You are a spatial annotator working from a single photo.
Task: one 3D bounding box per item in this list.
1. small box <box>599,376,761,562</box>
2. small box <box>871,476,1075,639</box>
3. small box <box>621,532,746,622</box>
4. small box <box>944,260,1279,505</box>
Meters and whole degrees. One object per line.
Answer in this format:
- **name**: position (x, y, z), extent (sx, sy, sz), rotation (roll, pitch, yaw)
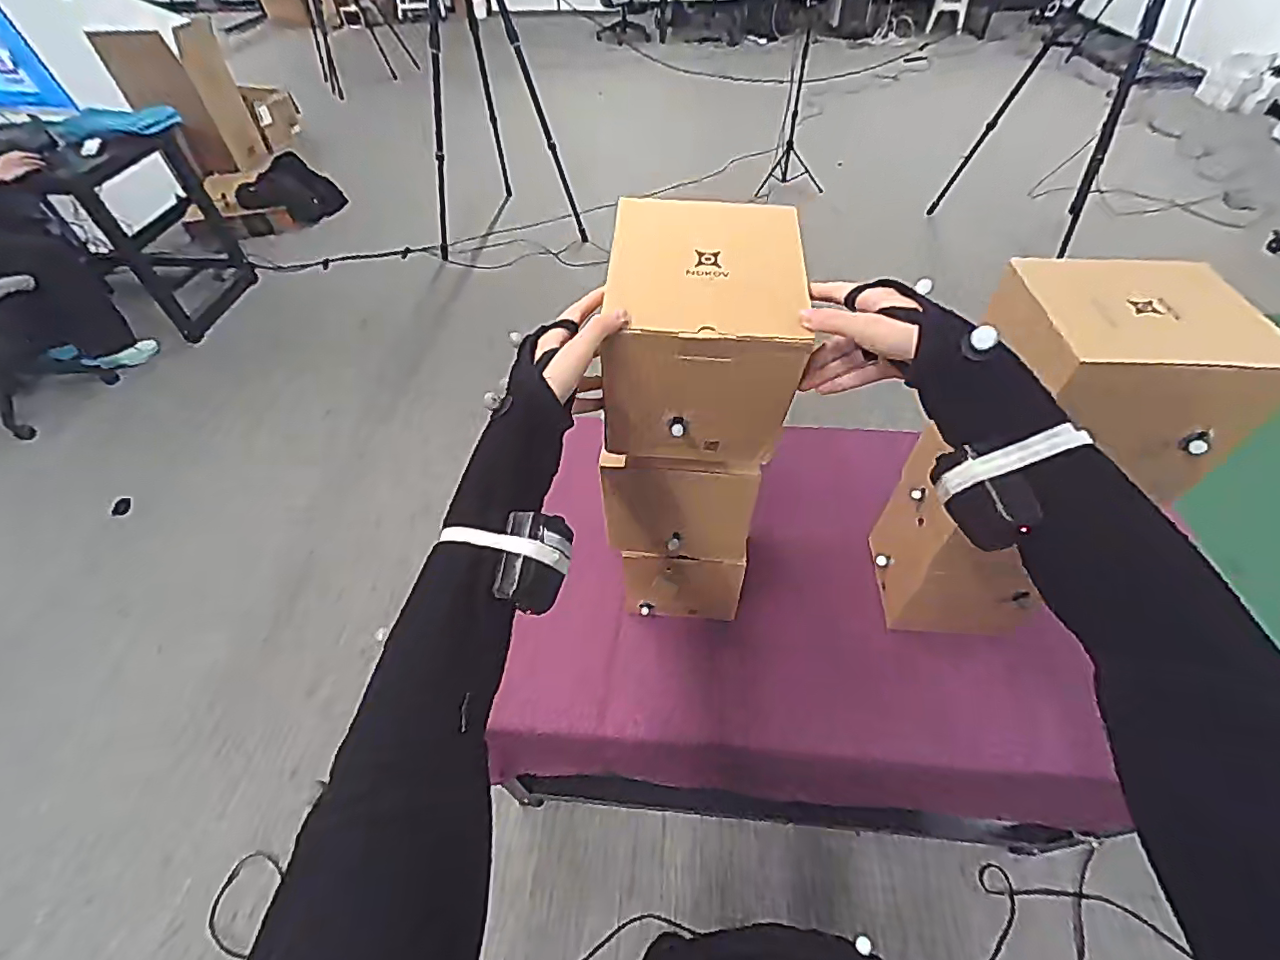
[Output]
- **small box**: position (0.051, -0.010, 0.687), extent (0.179, 0.176, 0.168), rotation (4, 49, 5)
- **small box**: position (0.458, 0.114, 0.778), extent (0.179, 0.176, 0.168), rotation (4, 49, 5)
- **small box**: position (0.067, 0.096, 0.812), extent (0.168, 0.176, 0.179), rotation (3, 49, 4)
- **small box**: position (0.433, -0.091, 0.523), extent (0.179, 0.176, 0.168), rotation (3, 49, 5)
